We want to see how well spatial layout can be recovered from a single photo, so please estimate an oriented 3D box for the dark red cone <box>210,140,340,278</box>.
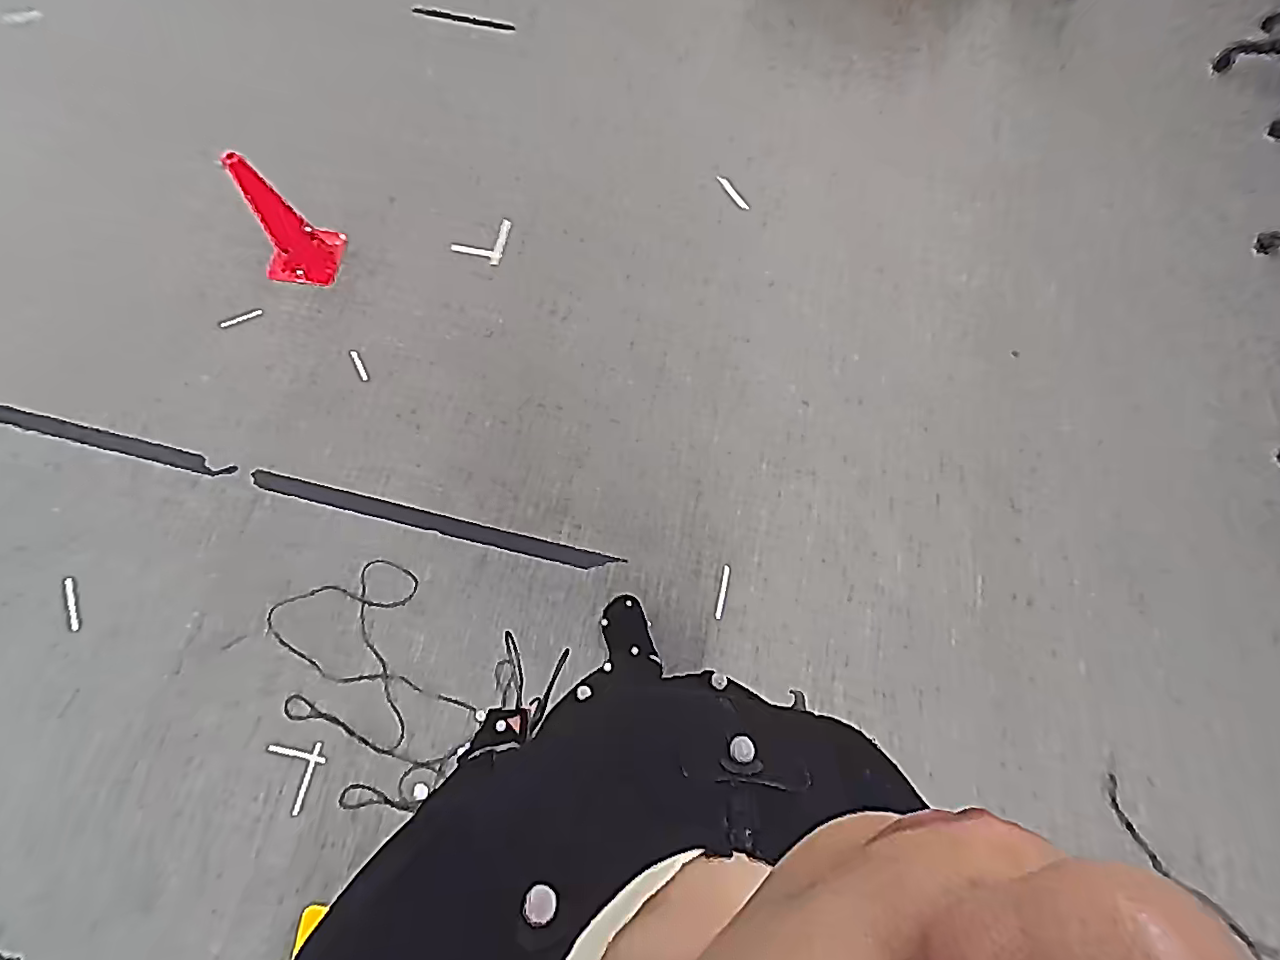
[{"bbox_3d":[-1.012,-0.741,1.468,0.202,0.394,0.201,6,73,0],"label":"dark red cone"}]
